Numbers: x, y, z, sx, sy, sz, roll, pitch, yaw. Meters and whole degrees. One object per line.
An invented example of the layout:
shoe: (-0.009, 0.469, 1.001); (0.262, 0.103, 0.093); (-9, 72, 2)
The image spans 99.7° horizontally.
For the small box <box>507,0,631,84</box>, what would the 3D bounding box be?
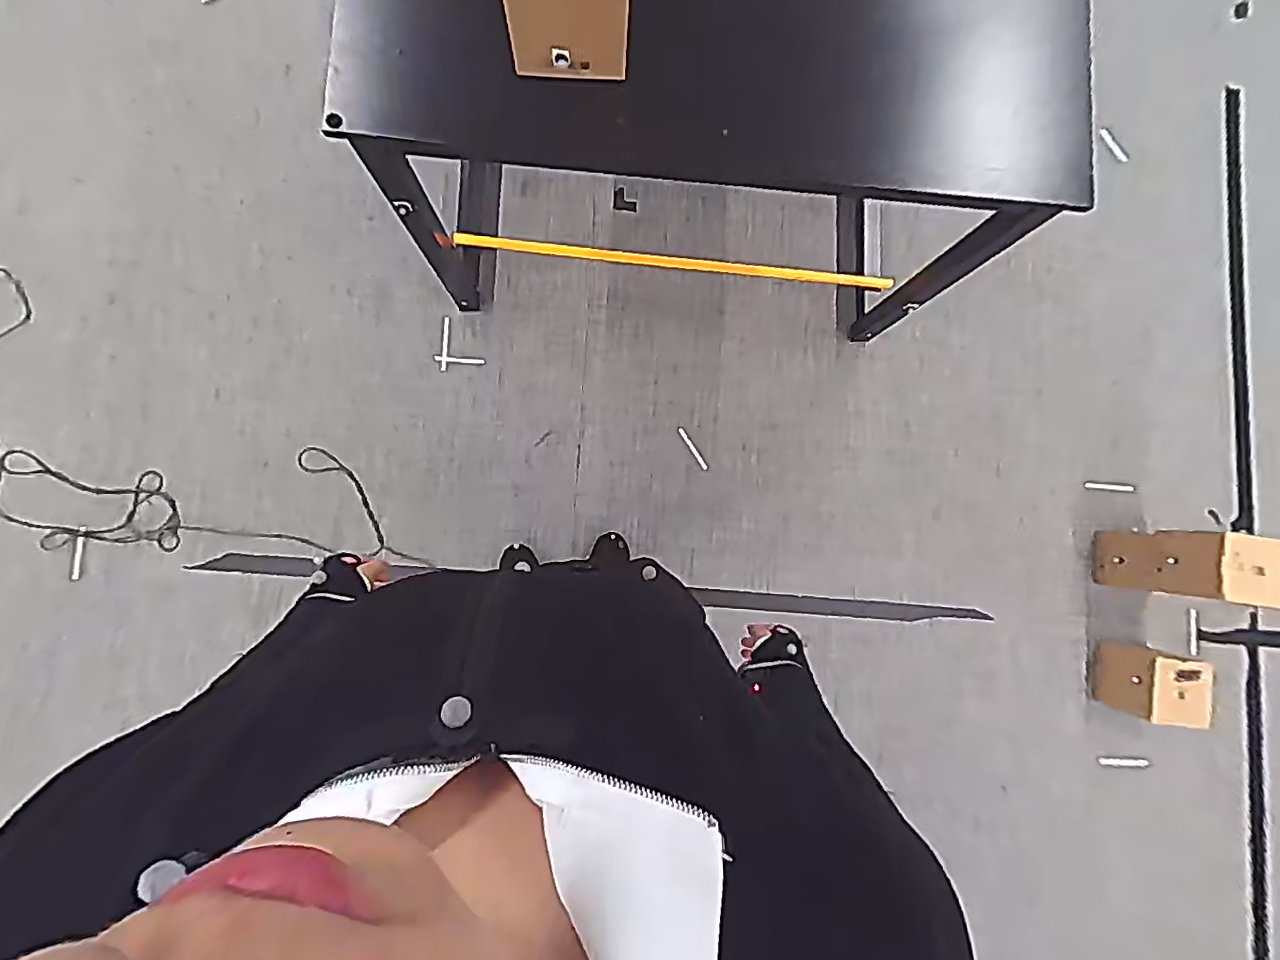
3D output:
small box: (-0.100, -0.703, 0.755); (0.168, 0.176, 0.179); (-2, 87, -4)

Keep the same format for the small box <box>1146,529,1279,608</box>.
small box: (1.454, 0.218, 1.374); (0.179, 0.176, 0.168); (9, 85, -4)

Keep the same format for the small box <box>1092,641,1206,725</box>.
small box: (1.418, 0.562, 1.516); (0.168, 0.176, 0.179); (7, 87, -4)

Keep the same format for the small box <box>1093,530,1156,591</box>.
small box: (1.438, 0.228, 1.539); (0.179, 0.176, 0.168); (3, 85, -4)
